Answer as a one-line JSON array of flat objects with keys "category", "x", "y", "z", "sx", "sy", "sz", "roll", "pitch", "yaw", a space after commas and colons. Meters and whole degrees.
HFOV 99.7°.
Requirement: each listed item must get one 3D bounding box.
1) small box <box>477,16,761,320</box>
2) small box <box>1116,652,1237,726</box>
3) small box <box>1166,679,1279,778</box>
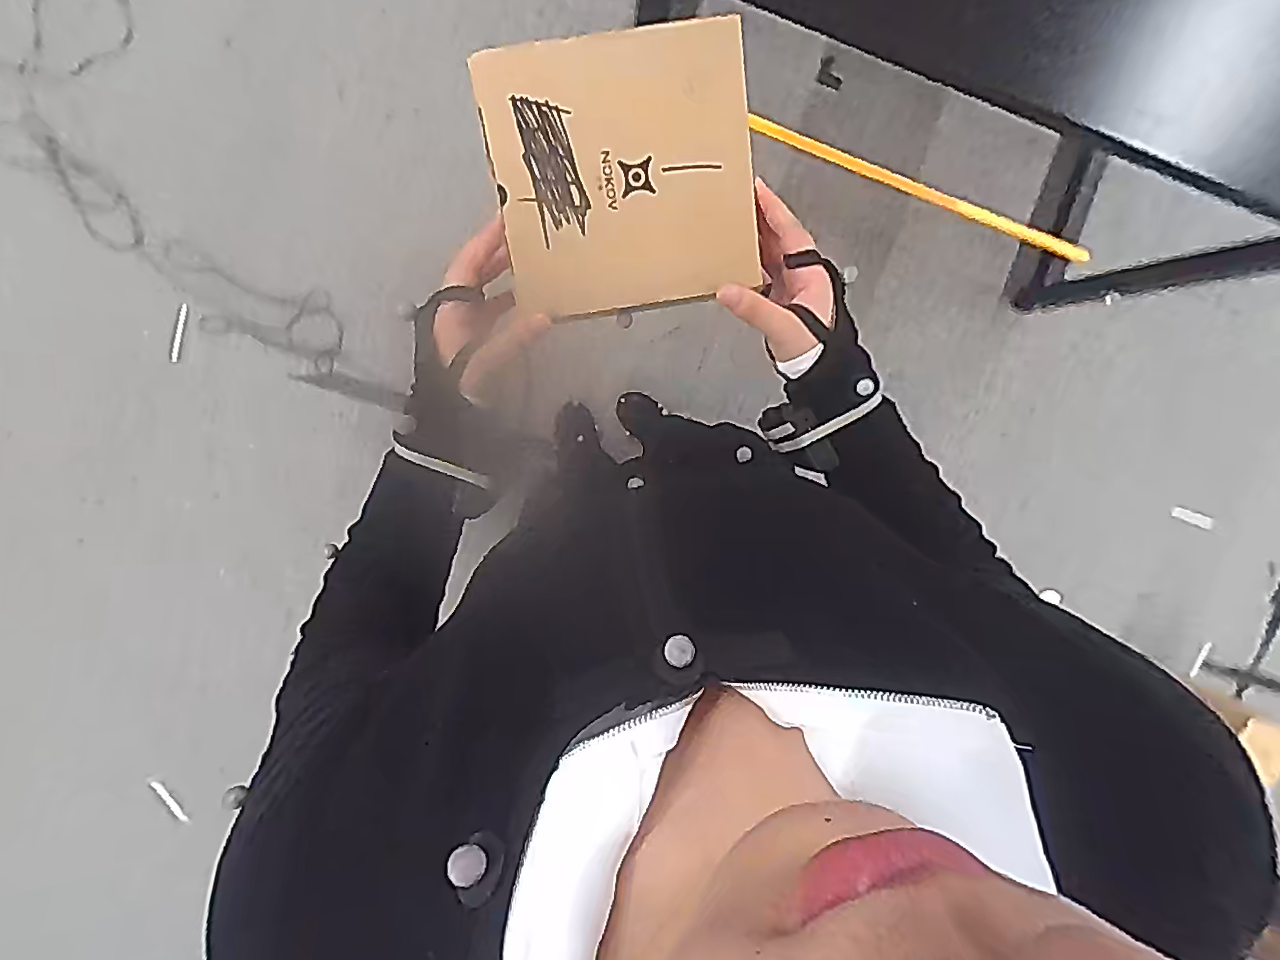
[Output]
[{"category": "small box", "x": -0.013, "y": -0.226, "z": 0.439, "sx": 0.179, "sy": 0.176, "sz": 0.168, "roll": -8, "pitch": 106, "yaw": -2}, {"category": "small box", "x": 1.634, "y": 0.653, "z": 1.659, "sx": 0.179, "sy": 0.176, "sz": 0.168, "roll": 16, "pitch": 99, "yaw": -6}, {"category": "small box", "x": 1.640, "y": 0.678, "z": 1.495, "sx": 0.179, "sy": 0.176, "sz": 0.168, "roll": 18, "pitch": 99, "yaw": -7}]
